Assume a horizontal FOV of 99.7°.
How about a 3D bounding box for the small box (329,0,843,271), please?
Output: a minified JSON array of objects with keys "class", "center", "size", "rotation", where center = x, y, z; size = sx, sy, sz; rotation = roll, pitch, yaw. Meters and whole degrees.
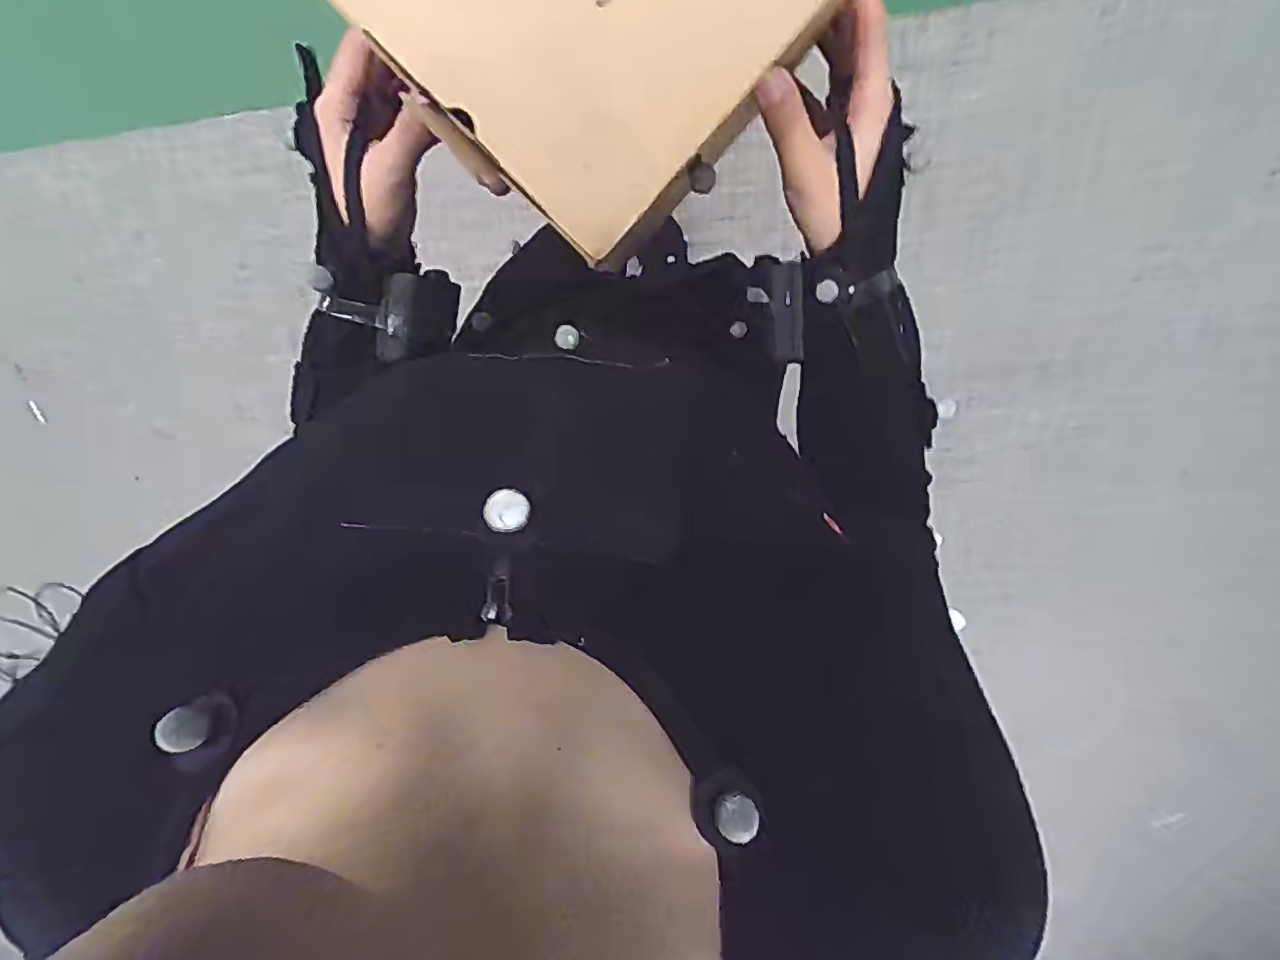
[{"class":"small box","center":[-0.016,-0.238,0.300],"size":[0.168,0.176,0.179],"rotation":[42,107,-13]}]
